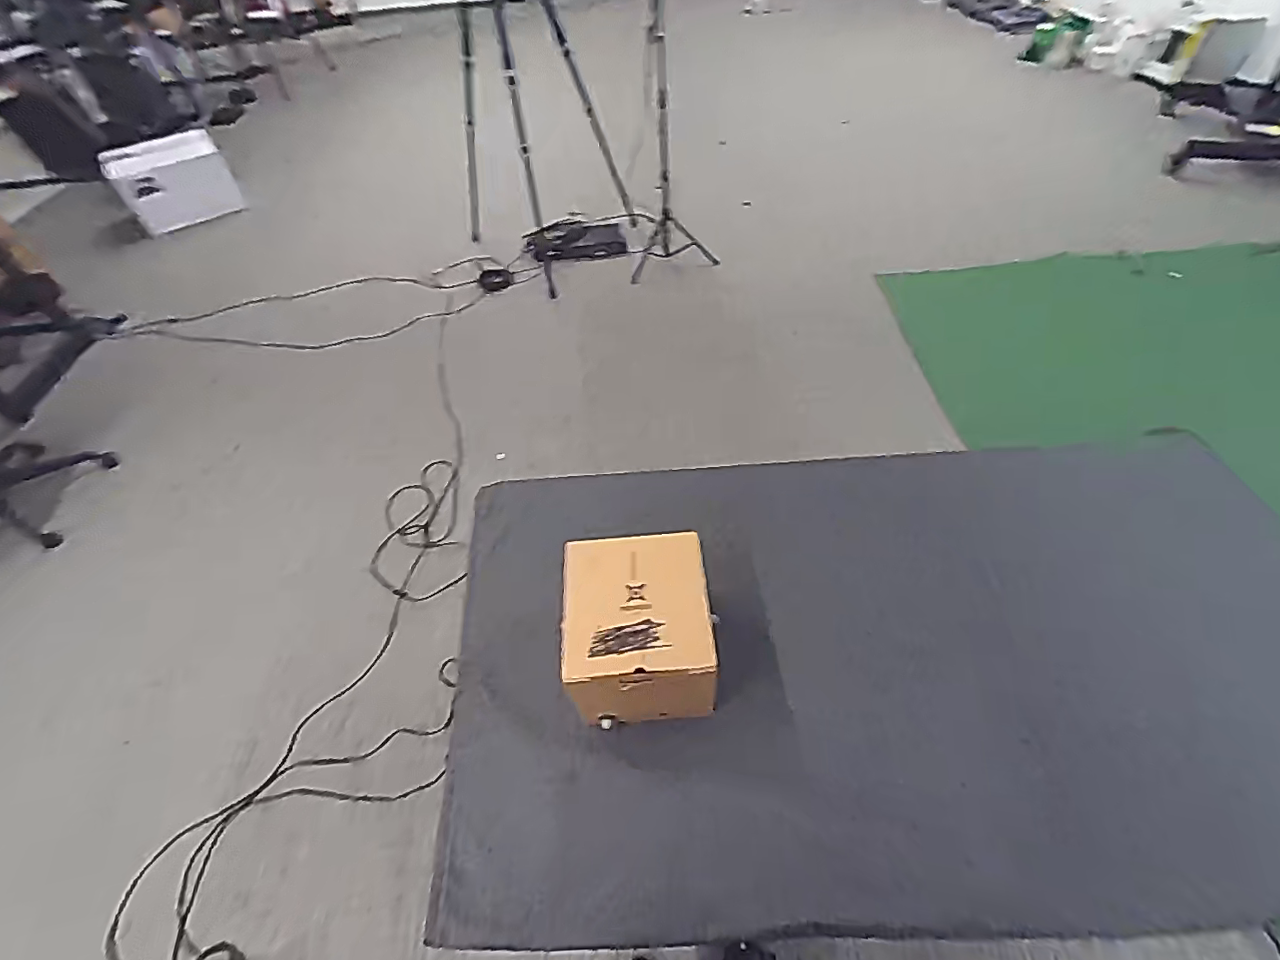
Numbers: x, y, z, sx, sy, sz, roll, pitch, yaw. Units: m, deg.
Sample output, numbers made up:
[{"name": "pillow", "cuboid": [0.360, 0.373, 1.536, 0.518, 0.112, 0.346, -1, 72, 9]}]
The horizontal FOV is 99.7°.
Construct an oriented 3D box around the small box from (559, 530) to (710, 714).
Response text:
[{"name": "small box", "cuboid": [-0.004, 0.186, 0.685, 0.168, 0.176, 0.179, -5, 50, 0]}]
